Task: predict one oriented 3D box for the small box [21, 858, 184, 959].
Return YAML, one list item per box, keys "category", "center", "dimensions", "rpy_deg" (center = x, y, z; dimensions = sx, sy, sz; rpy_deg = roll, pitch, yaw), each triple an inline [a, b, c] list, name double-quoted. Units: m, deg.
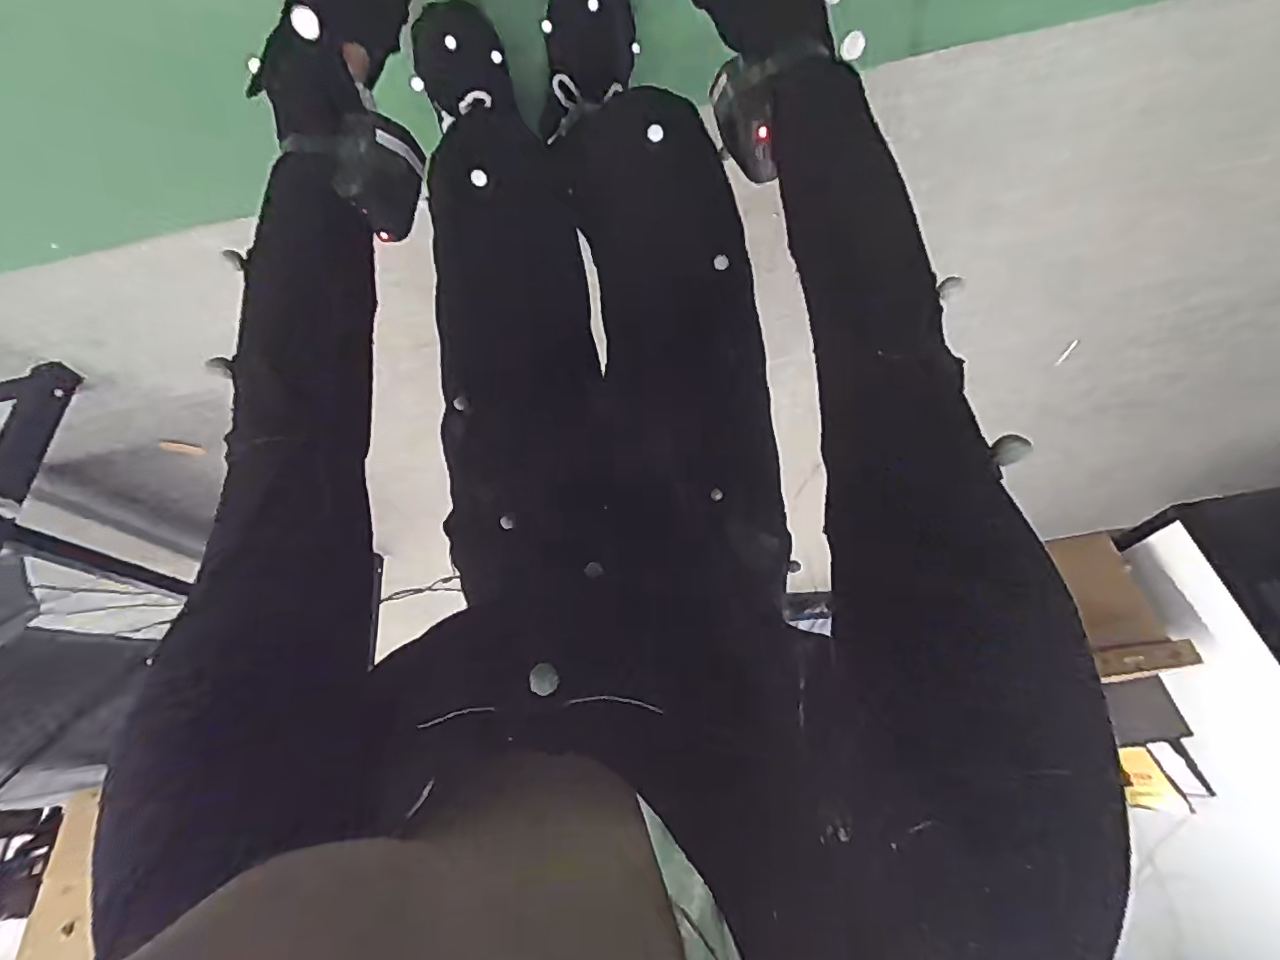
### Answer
- category: "small box"
  center: [-1.111, 0.907, 1.122]
  dimensions: [0.168, 0.176, 0.179]
  rpy_deg: [-12, 151, 5]
